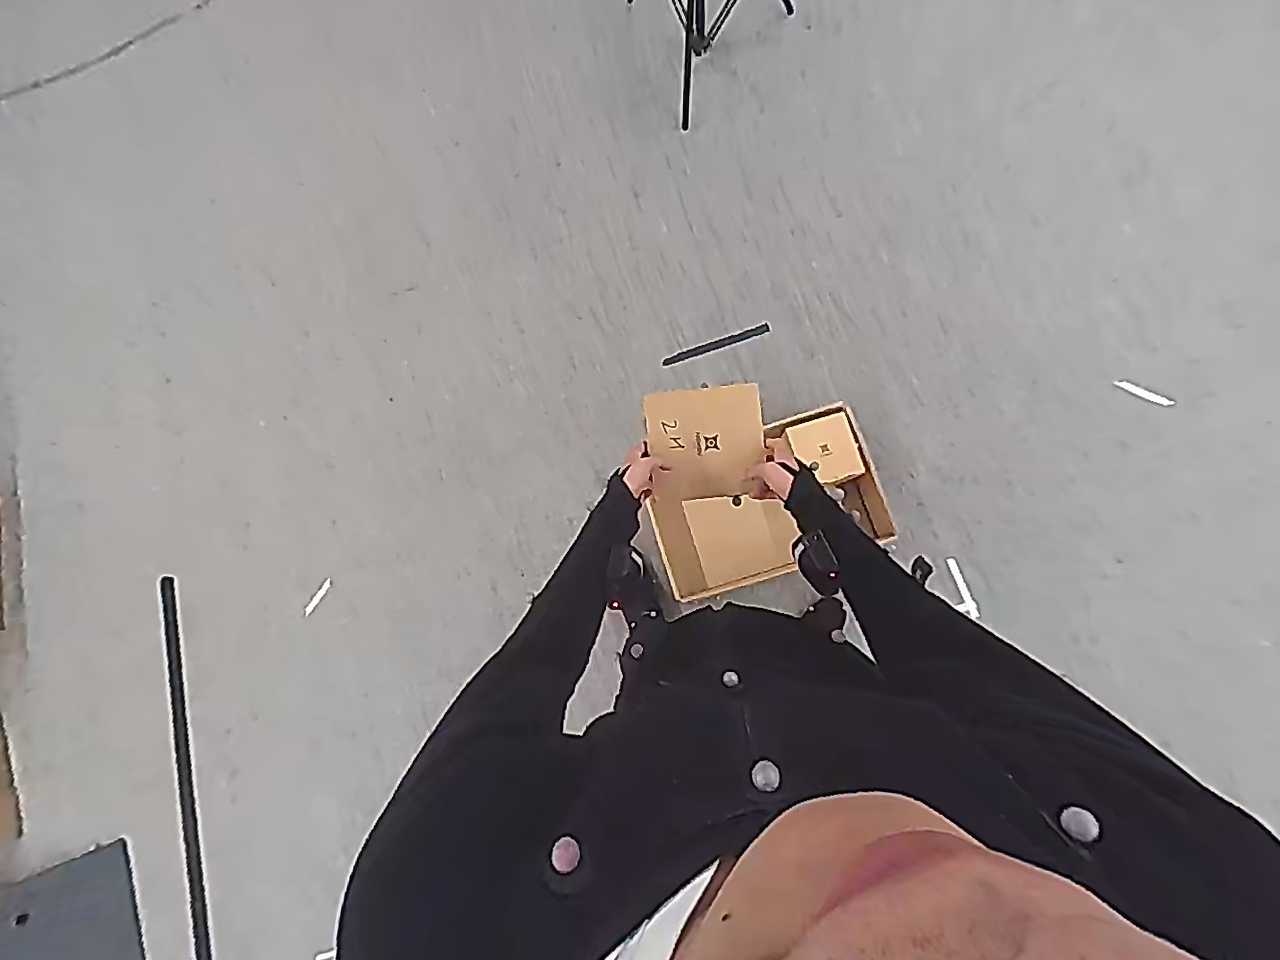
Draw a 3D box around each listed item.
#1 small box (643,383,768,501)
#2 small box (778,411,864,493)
[{"bbox_3d":[0.100,-0.056,0.884,0.179,0.176,0.168,-6,88,4],"label":"small box"},{"bbox_3d":[0.502,-0.073,1.528,0.168,0.176,0.179,-17,81,4],"label":"small box"}]
